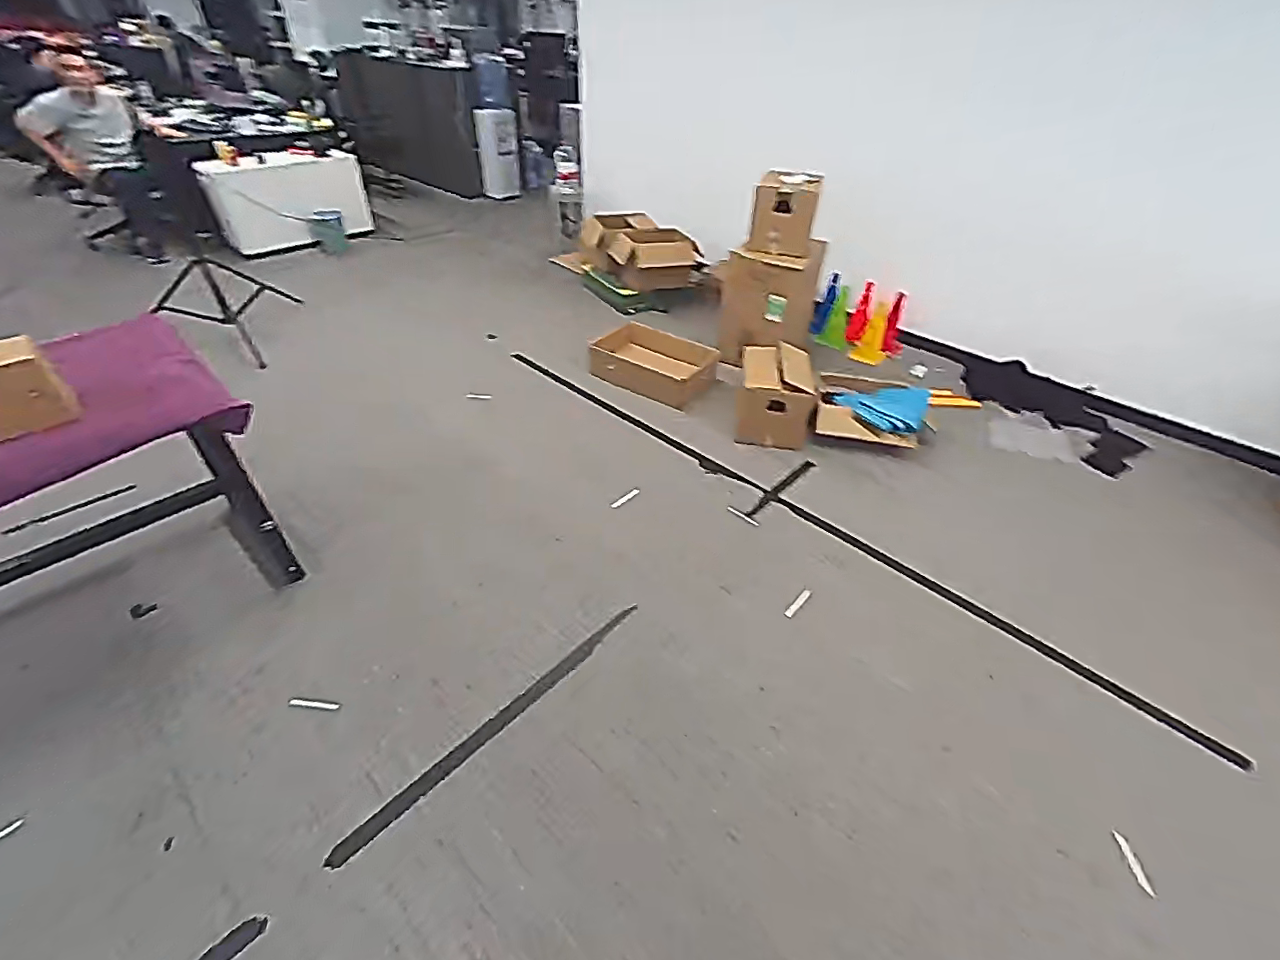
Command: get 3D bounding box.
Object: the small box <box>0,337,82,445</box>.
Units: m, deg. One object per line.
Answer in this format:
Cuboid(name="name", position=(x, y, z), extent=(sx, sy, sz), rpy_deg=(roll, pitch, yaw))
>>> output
Cuboid(name="small box", position=(-1.477, -0.210, 1.278), extent=(0.179, 0.176, 0.168), rpy_deg=(-32, 49, -32))
